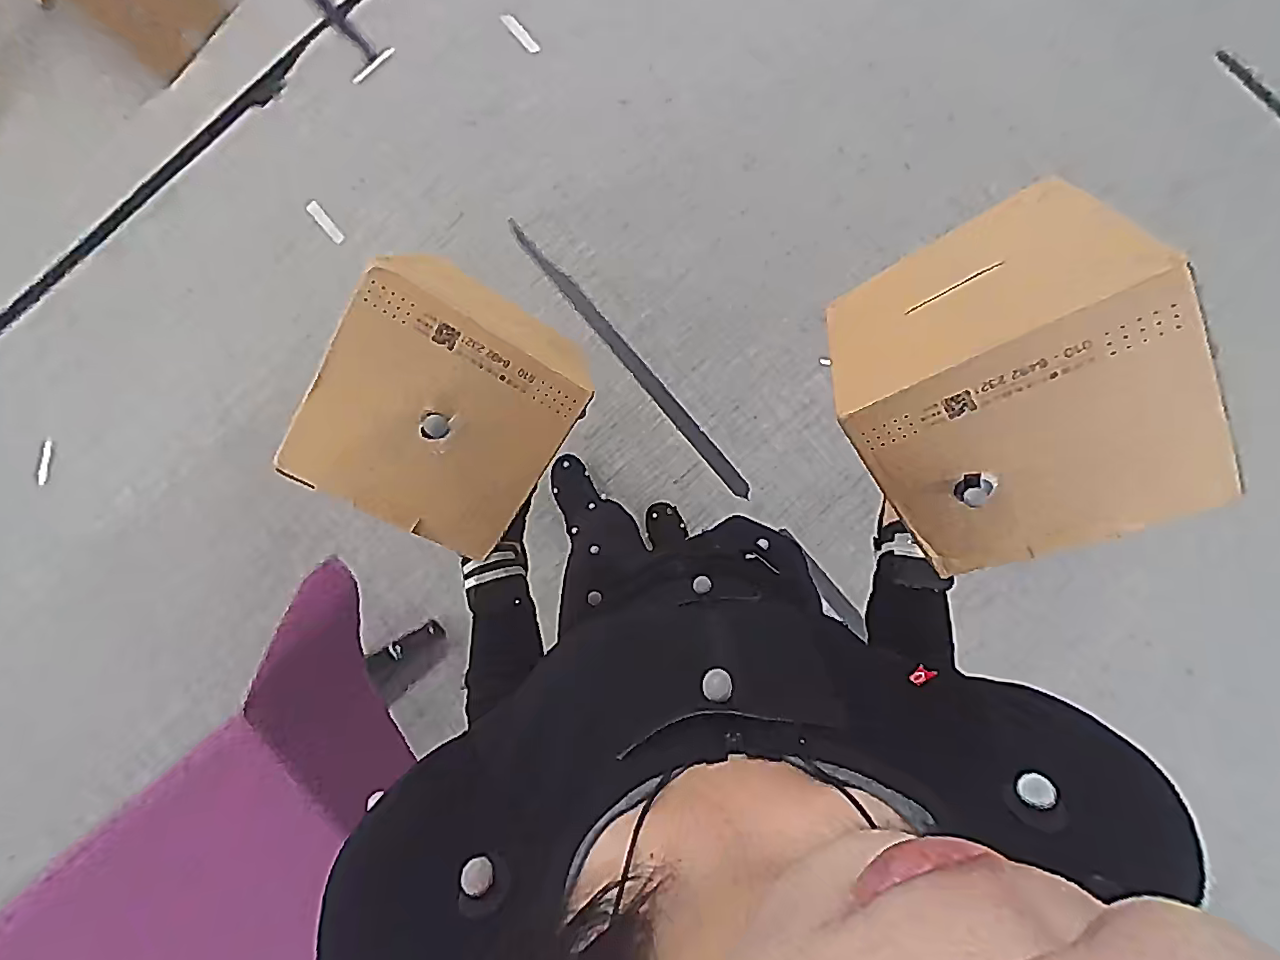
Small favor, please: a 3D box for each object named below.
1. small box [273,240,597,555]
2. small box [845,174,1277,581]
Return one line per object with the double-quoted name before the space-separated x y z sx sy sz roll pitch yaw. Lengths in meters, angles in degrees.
"small box" -0.148 -0.076 0.443 0.168 0.179 0.176 31 105 -19
"small box" 0.253 -0.067 0.364 0.168 0.179 0.176 -23 120 32
